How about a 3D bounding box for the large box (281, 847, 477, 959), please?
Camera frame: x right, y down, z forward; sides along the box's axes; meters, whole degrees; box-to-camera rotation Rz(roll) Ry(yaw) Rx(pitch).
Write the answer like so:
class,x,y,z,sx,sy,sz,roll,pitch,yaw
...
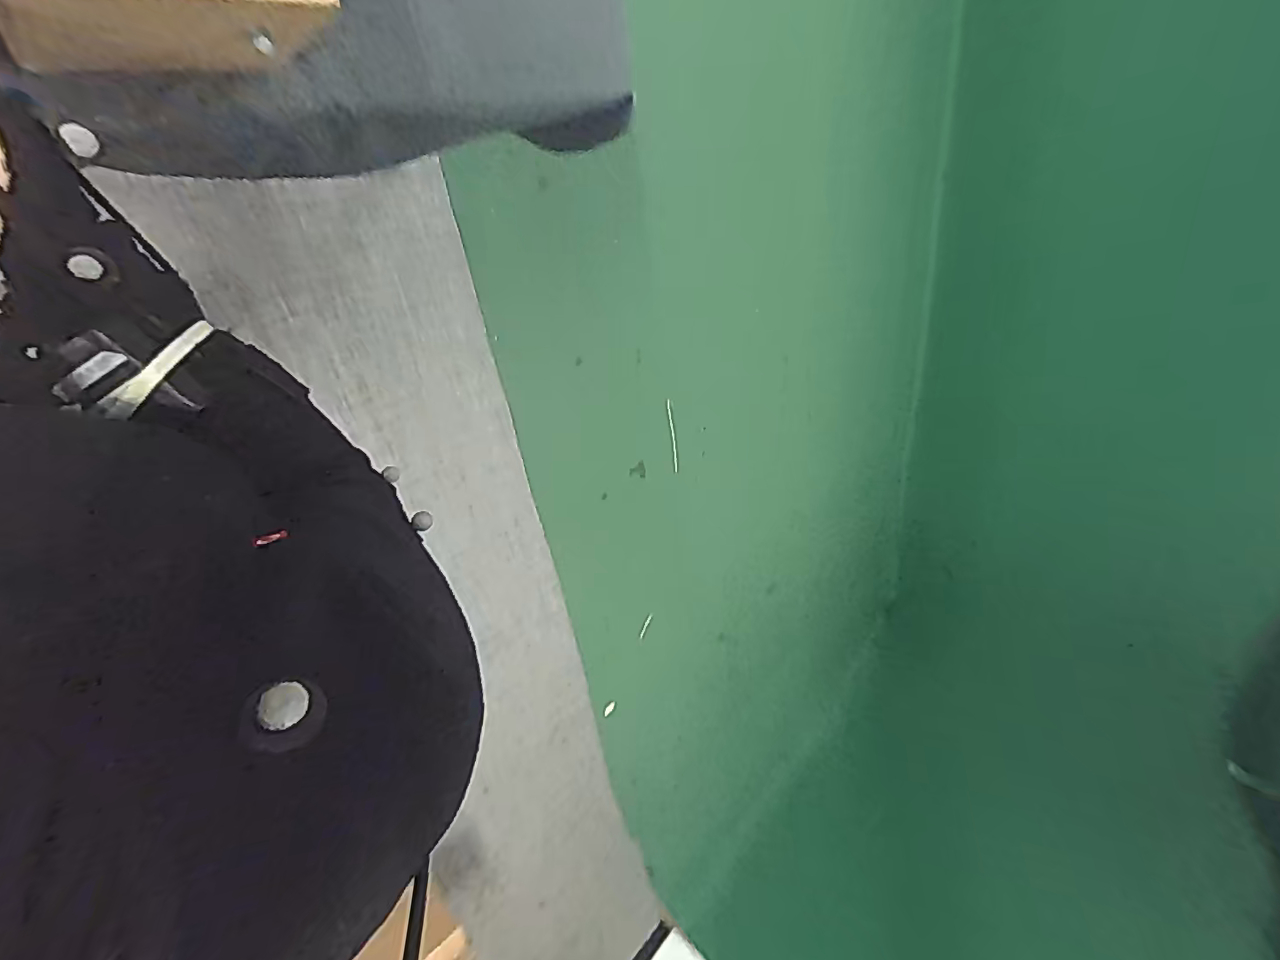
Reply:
class,x,y,z,sx,sy,sz,roll,pitch,yaw
large box,-0.752,1.420,1.594,0.408,0.320,0.320,-26,122,-37
